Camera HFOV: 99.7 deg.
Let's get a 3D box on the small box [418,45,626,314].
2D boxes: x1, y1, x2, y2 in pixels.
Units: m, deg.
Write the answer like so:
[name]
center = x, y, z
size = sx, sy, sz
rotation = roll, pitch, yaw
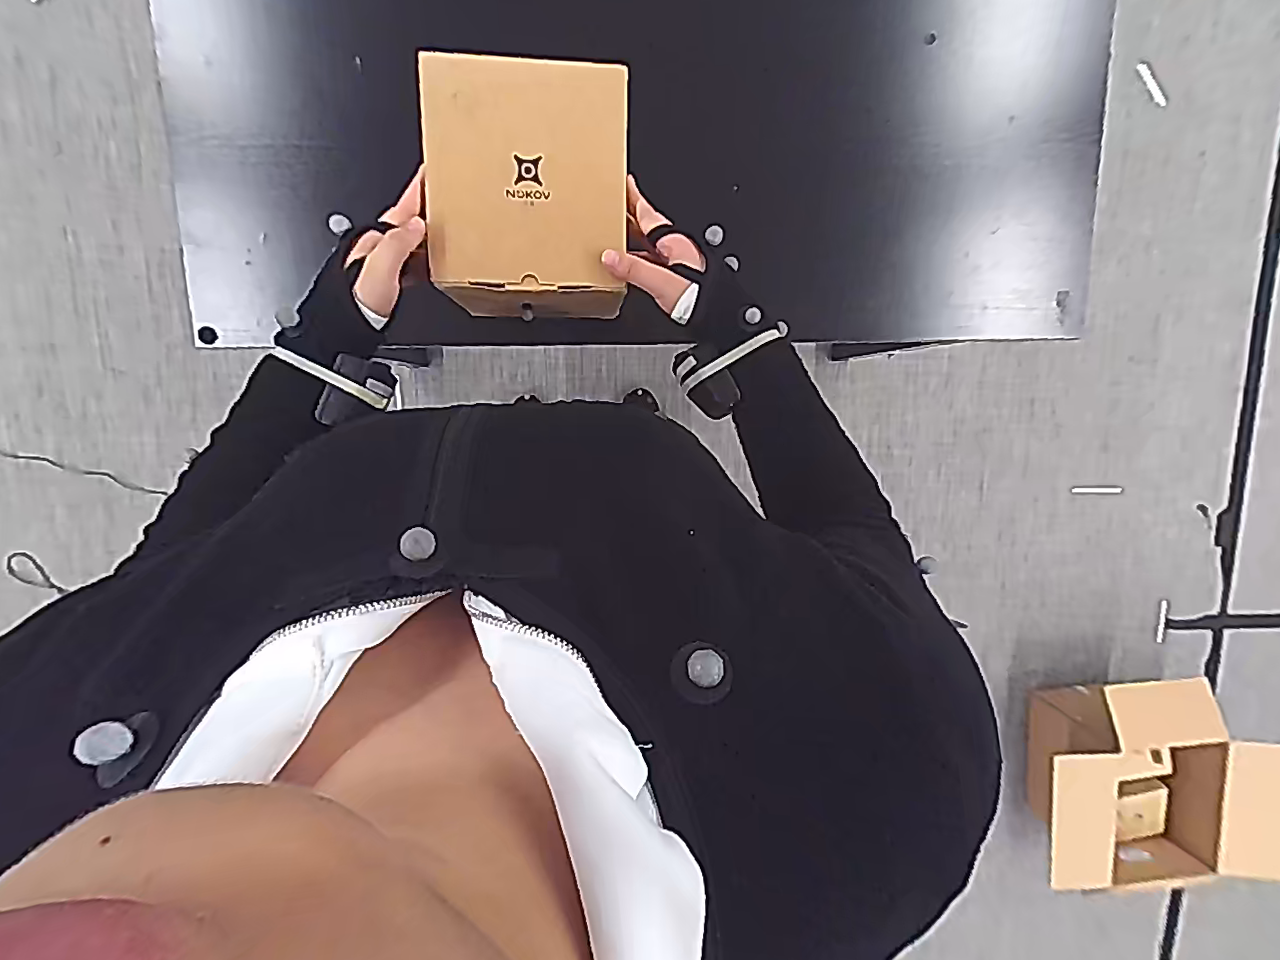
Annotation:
[small box]
center = -0.104, -0.265, 0.520
size = 0.168, 0.176, 0.179
rotation = 0, 100, -6
